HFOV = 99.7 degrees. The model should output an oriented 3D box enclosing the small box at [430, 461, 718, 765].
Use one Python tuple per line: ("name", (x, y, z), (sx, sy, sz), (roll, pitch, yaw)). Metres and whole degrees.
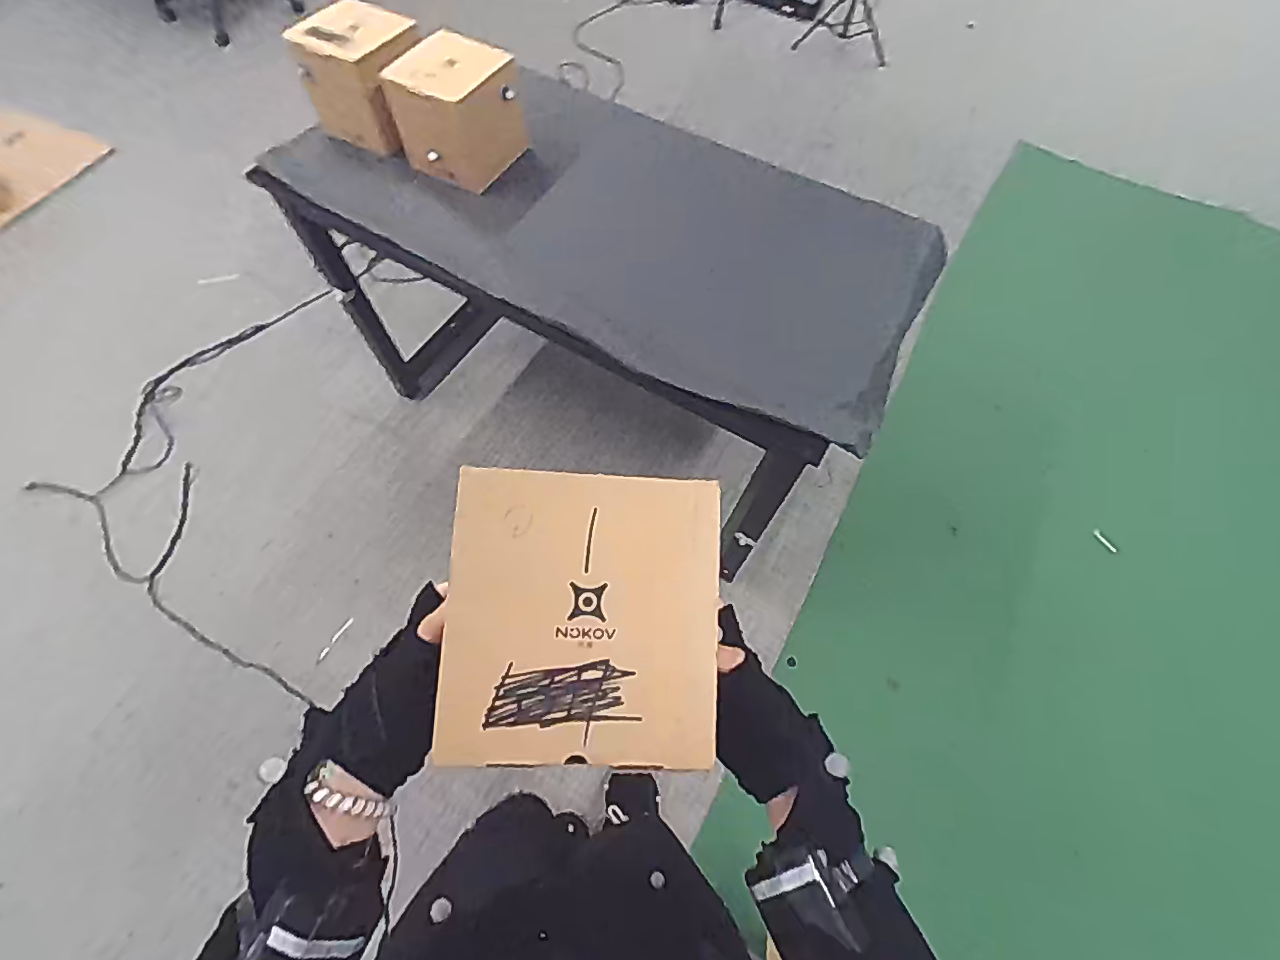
("small box", (-0.043, 0.091, 0.406), (0.168, 0.176, 0.179), (4, 80, -6))
